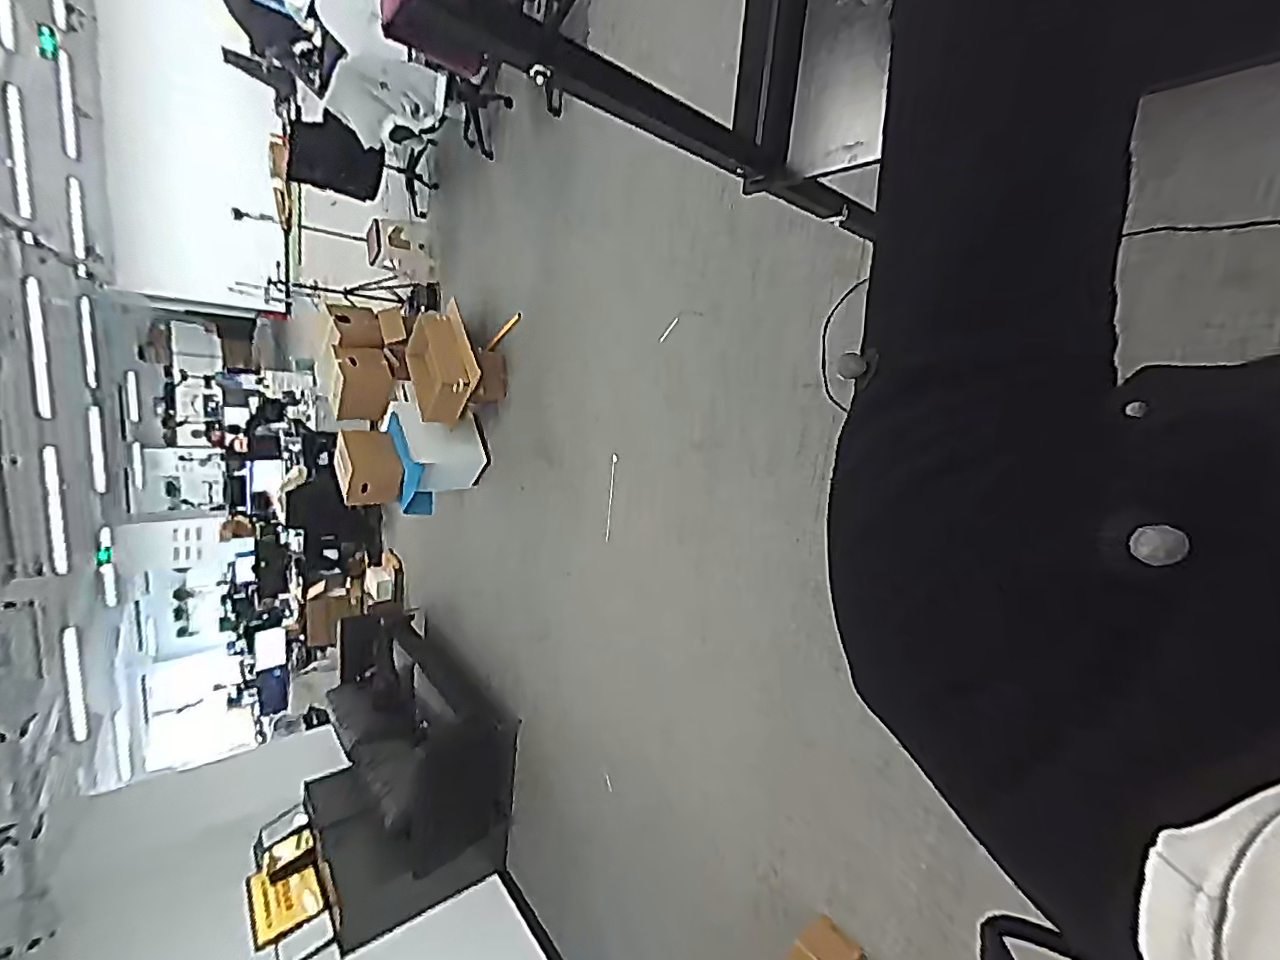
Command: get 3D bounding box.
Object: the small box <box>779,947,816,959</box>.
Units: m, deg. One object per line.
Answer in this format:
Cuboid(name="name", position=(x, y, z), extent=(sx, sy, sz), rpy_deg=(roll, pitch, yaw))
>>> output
Cuboid(name="small box", position=(0.518, 1.670, 1.747), extent=(0.179, 0.176, 0.168), rpy_deg=(22, 110, 47))
